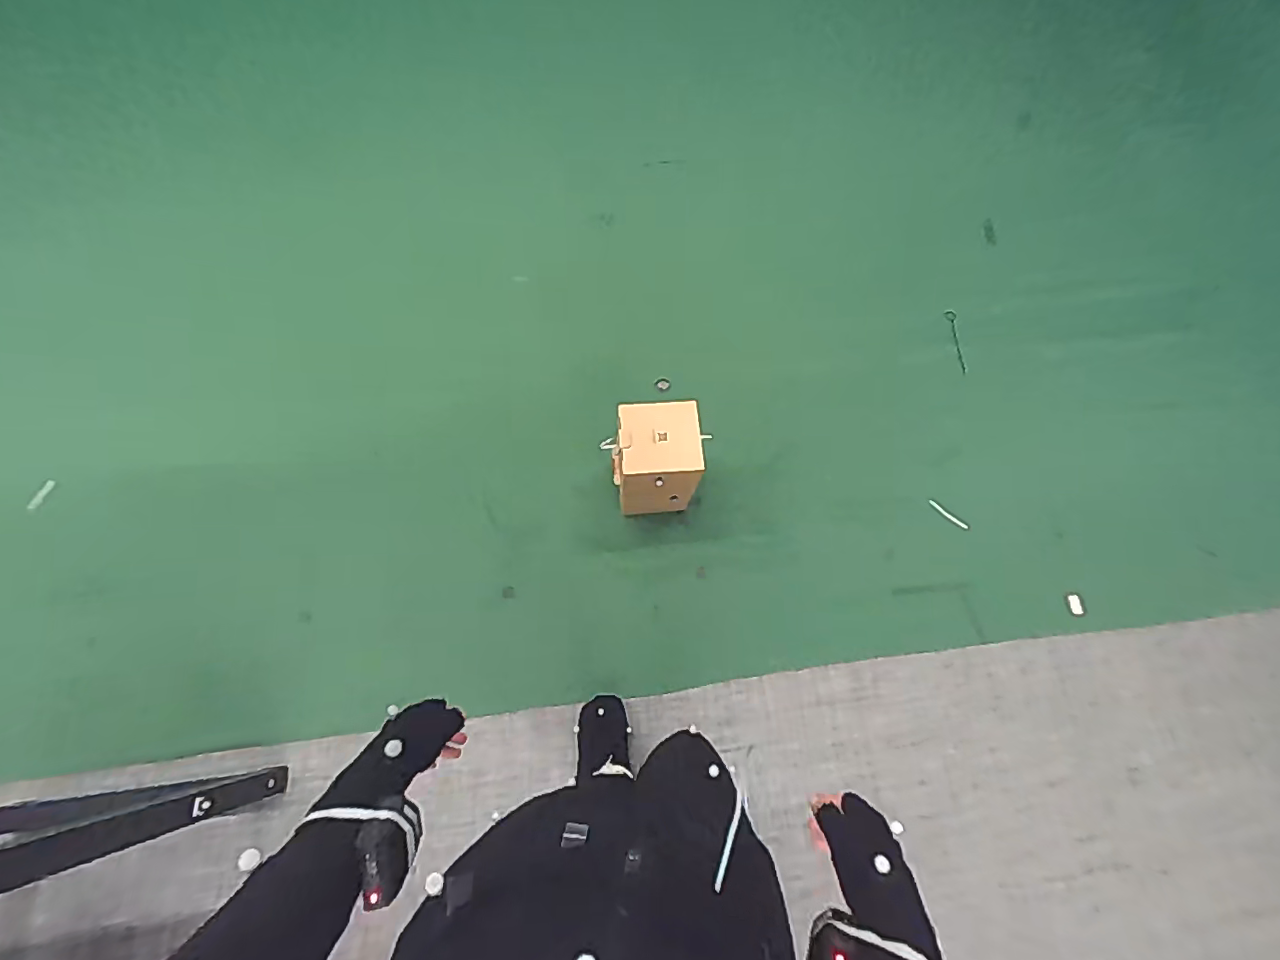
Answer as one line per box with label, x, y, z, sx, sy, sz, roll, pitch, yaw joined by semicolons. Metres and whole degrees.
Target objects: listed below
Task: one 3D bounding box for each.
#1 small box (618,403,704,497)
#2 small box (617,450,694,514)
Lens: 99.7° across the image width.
small box;0.041;-0.064;1.237;0.179;0.176;0.168;-3;71;-3
small box;0.033;-0.016;1.392;0.179;0.176;0.168;-4;70;-4
